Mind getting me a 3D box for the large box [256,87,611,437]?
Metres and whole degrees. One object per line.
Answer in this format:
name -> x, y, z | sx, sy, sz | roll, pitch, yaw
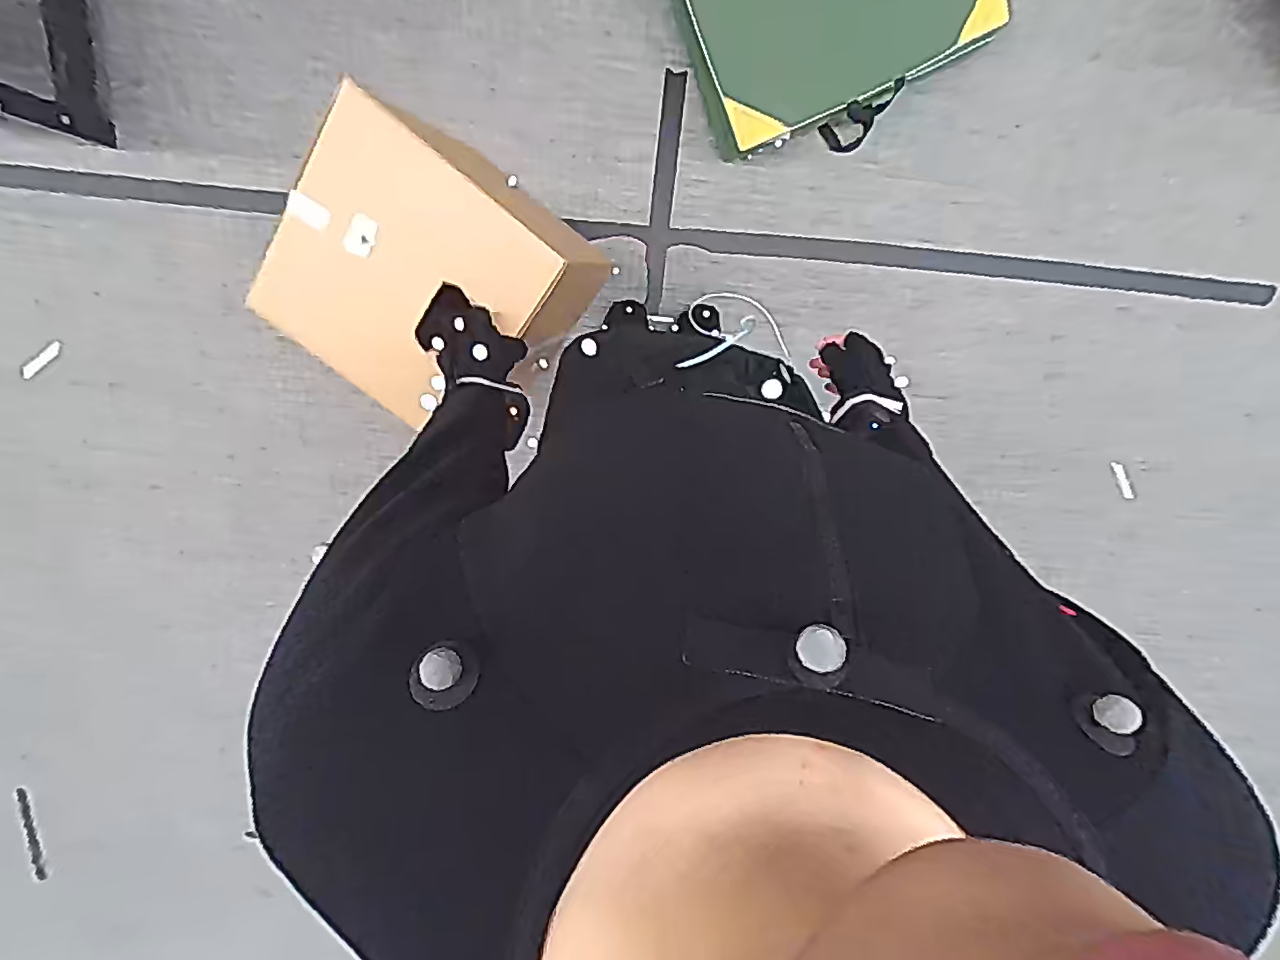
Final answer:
large box -> -0.287, -0.332, 0.865 | 0.320, 0.408, 0.320 | 41, 111, -11
